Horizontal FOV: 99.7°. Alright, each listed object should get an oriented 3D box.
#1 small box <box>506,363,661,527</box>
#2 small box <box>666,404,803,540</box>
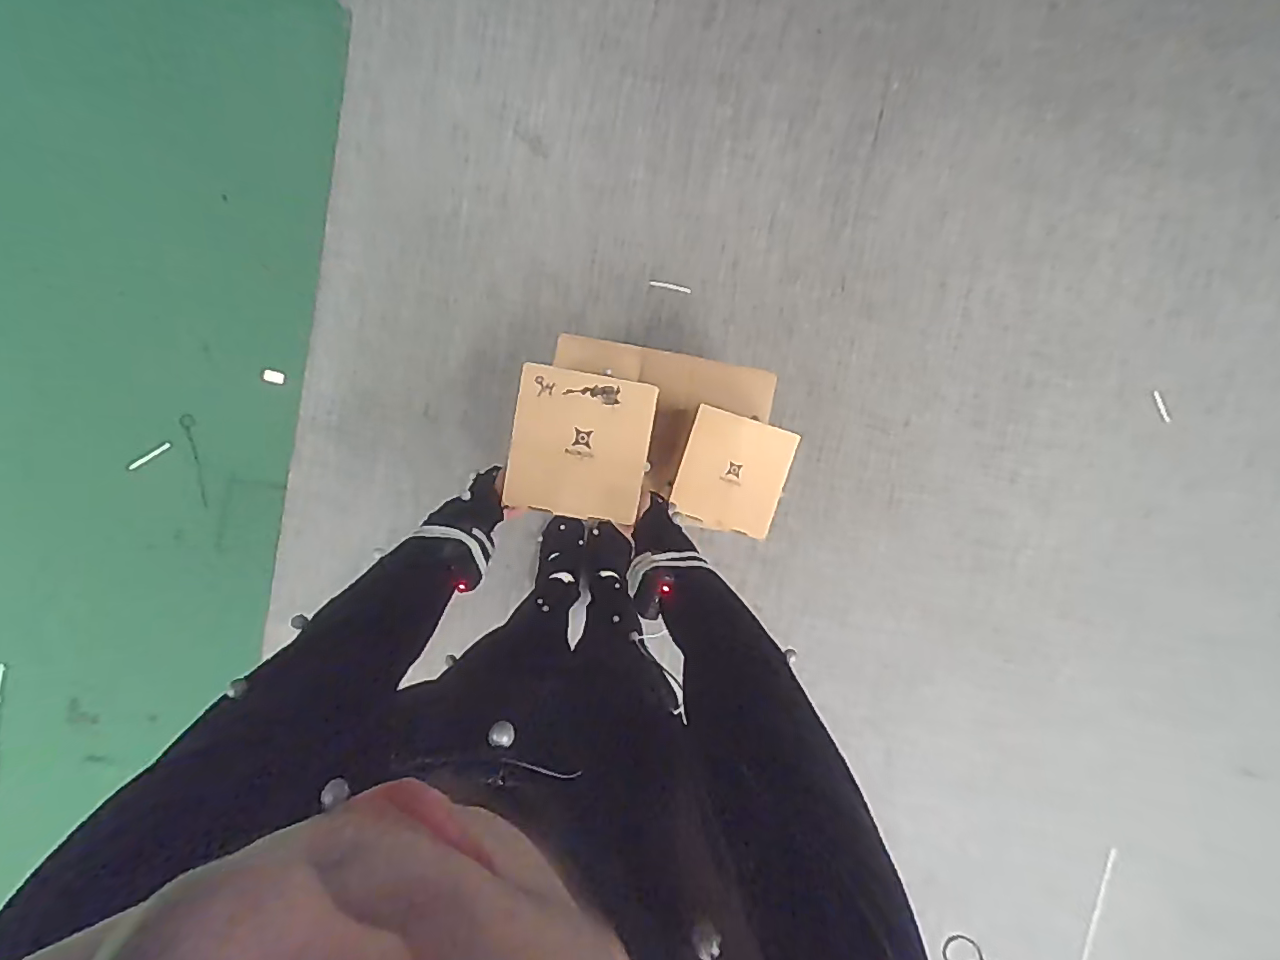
[{"bbox_3d":[-0.072,-0.048,0.726,0.168,0.176,0.179,9,95,-5],"label":"small box"},{"bbox_3d":[0.146,-0.018,0.908,0.168,0.176,0.179,16,95,-3],"label":"small box"}]
